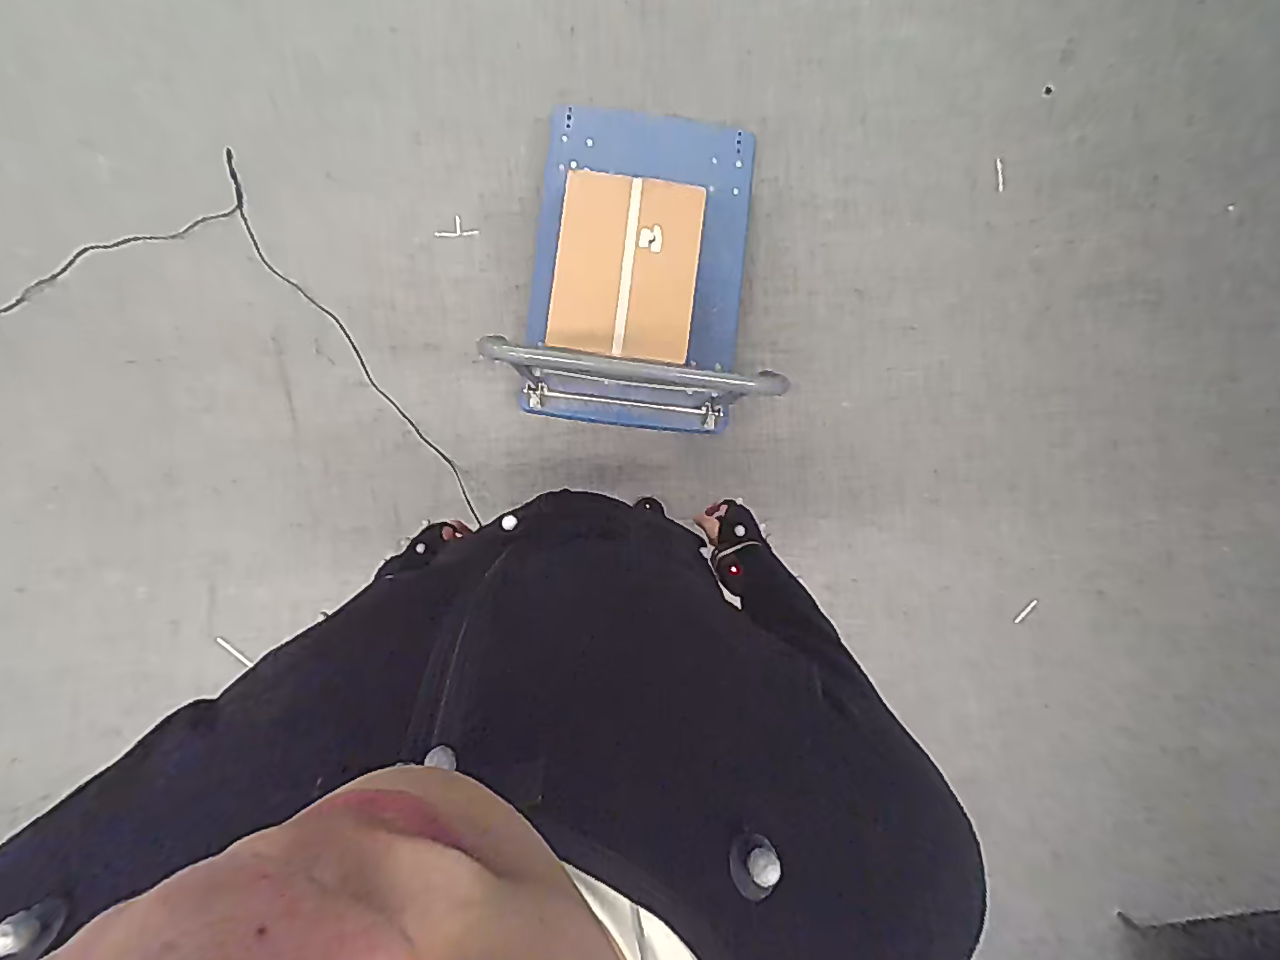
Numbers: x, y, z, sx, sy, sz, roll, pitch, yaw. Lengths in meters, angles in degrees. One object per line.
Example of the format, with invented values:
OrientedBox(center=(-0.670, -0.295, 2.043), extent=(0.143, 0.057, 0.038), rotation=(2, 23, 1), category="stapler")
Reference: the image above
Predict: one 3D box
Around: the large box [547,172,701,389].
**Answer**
OrientedBox(center=(-0.039, -0.468, 1.352), extent=(0.320, 0.320, 0.408), rotation=(7, 86, -3), category="large box")
